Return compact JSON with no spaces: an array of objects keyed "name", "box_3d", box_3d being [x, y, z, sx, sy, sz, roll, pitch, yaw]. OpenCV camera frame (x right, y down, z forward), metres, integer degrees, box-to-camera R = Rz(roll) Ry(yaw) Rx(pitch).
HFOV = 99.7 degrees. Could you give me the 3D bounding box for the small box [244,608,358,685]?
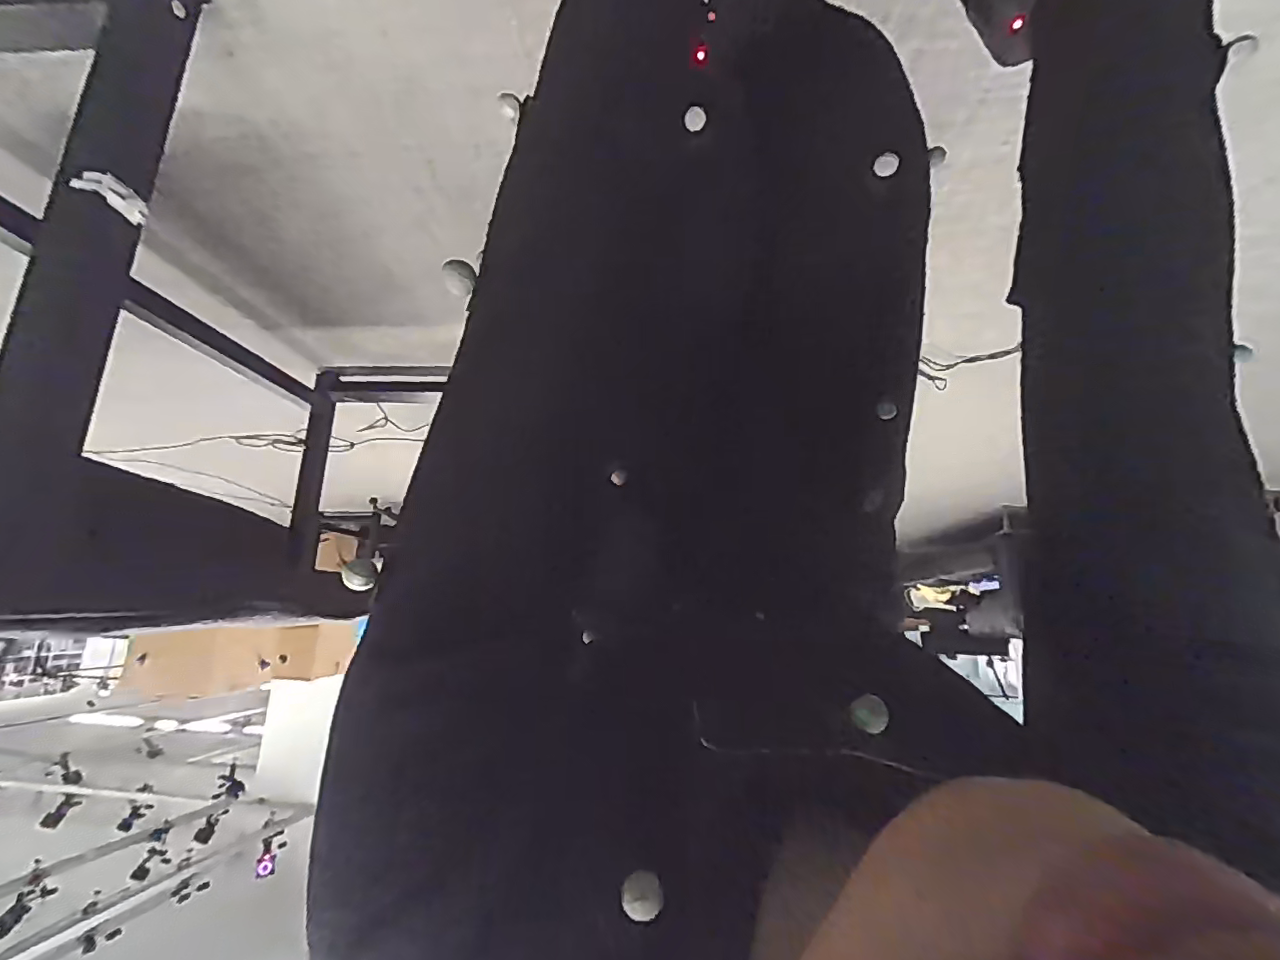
[{"name":"small box","box_3d":[-0.827,0.406,1.339,0.179,0.176,0.168,2,165,4]}]
